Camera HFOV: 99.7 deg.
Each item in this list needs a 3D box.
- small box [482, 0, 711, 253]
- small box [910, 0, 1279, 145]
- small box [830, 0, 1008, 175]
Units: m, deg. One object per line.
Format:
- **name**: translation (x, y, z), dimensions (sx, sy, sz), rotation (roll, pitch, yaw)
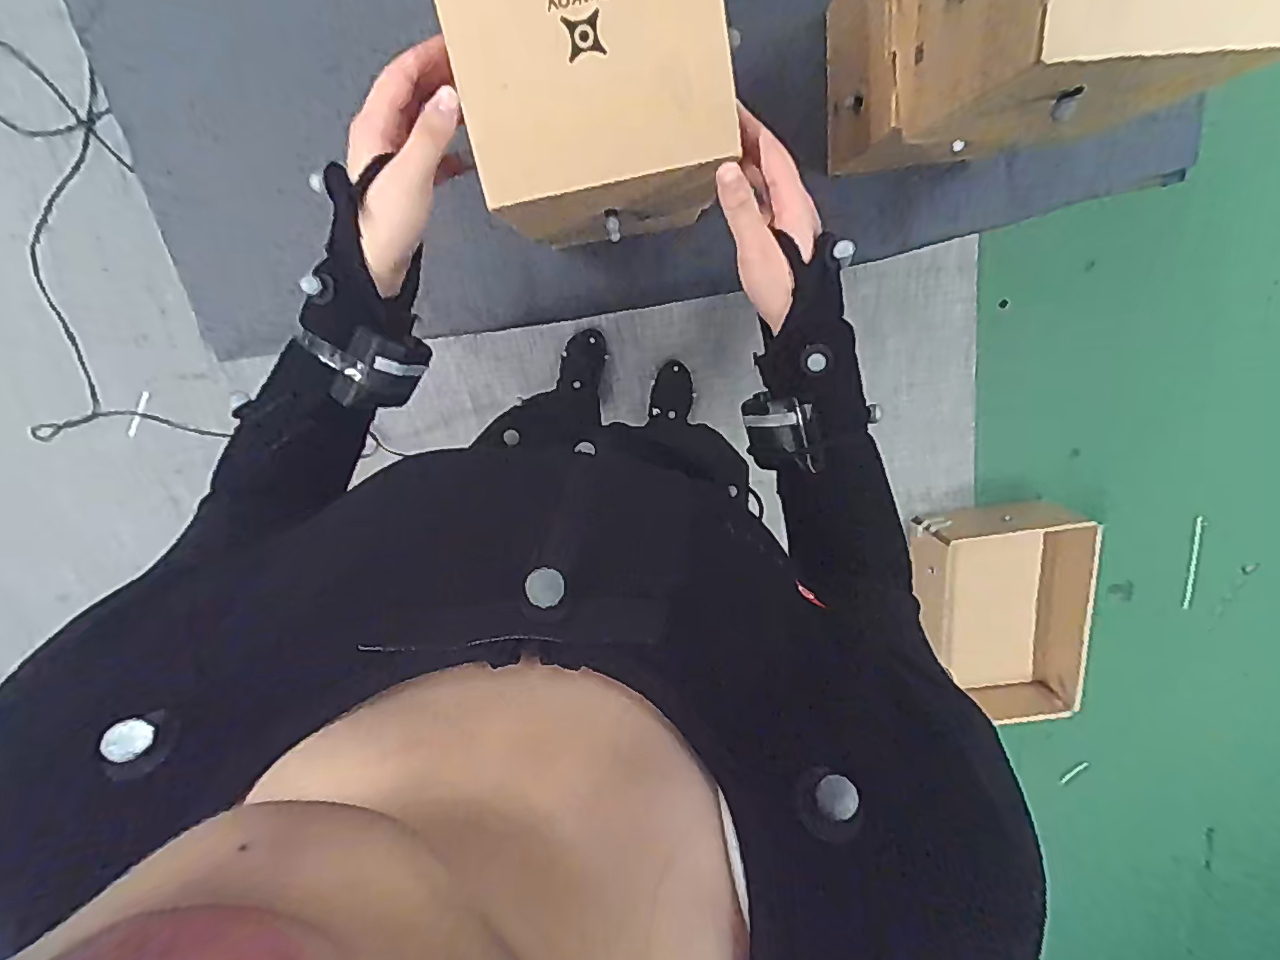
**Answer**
- **small box**: translation (-0.034, -0.335, 0.542), dimensions (0.179, 0.176, 0.168), rotation (-9, 106, 3)
- **small box**: translation (0.312, -0.349, 0.373), dimensions (0.179, 0.176, 0.168), rotation (-4, 107, 1)
- **small box**: translation (0.295, -0.412, 0.525), dimensions (0.179, 0.176, 0.168), rotation (-7, 108, 0)
